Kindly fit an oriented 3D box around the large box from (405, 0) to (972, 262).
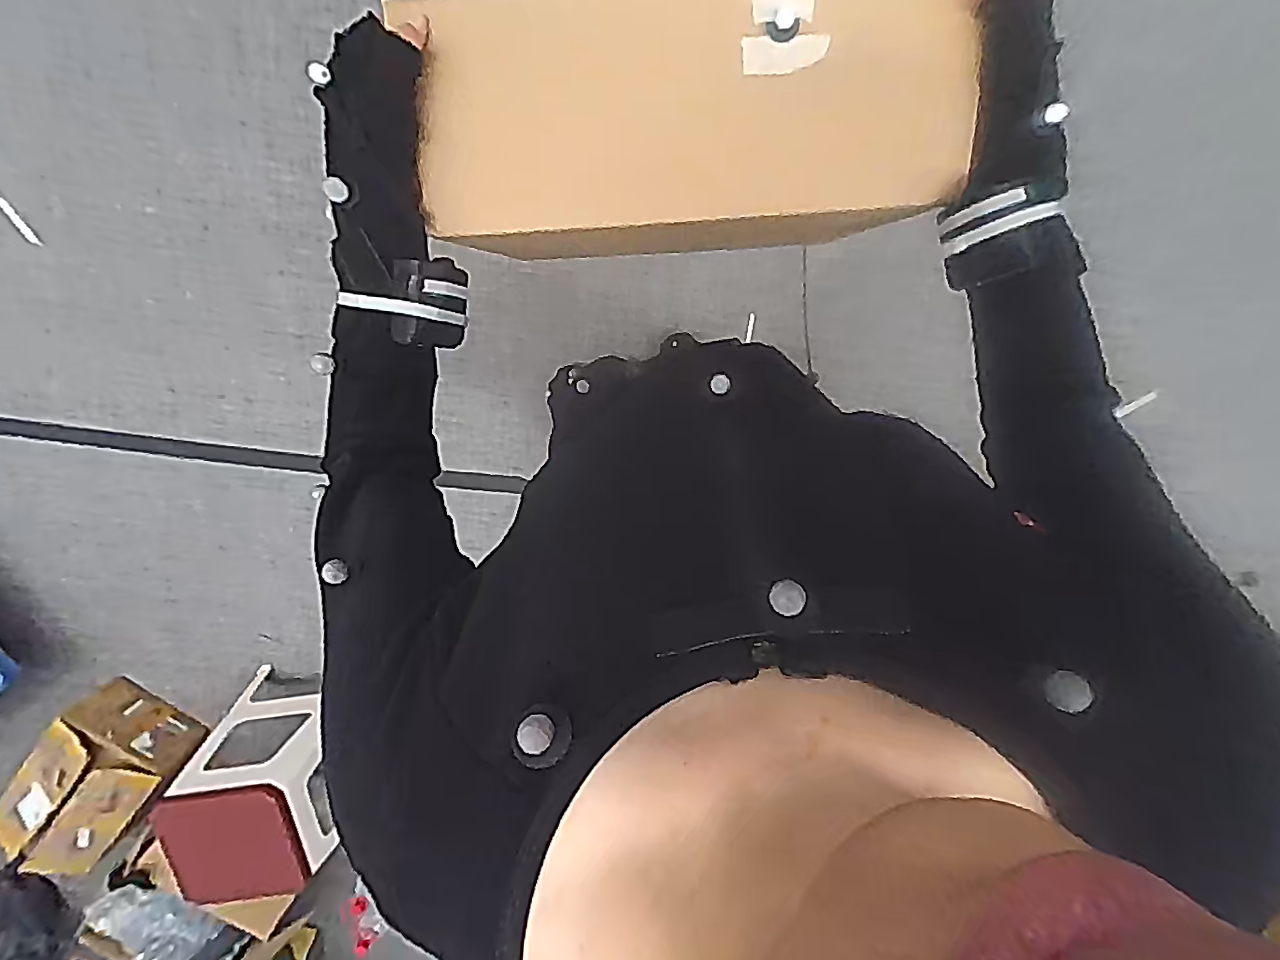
[{"bbox_3d":[0.032,-0.397,0.514,0.408,0.320,0.320,-3,108,2],"label":"large box"}]
